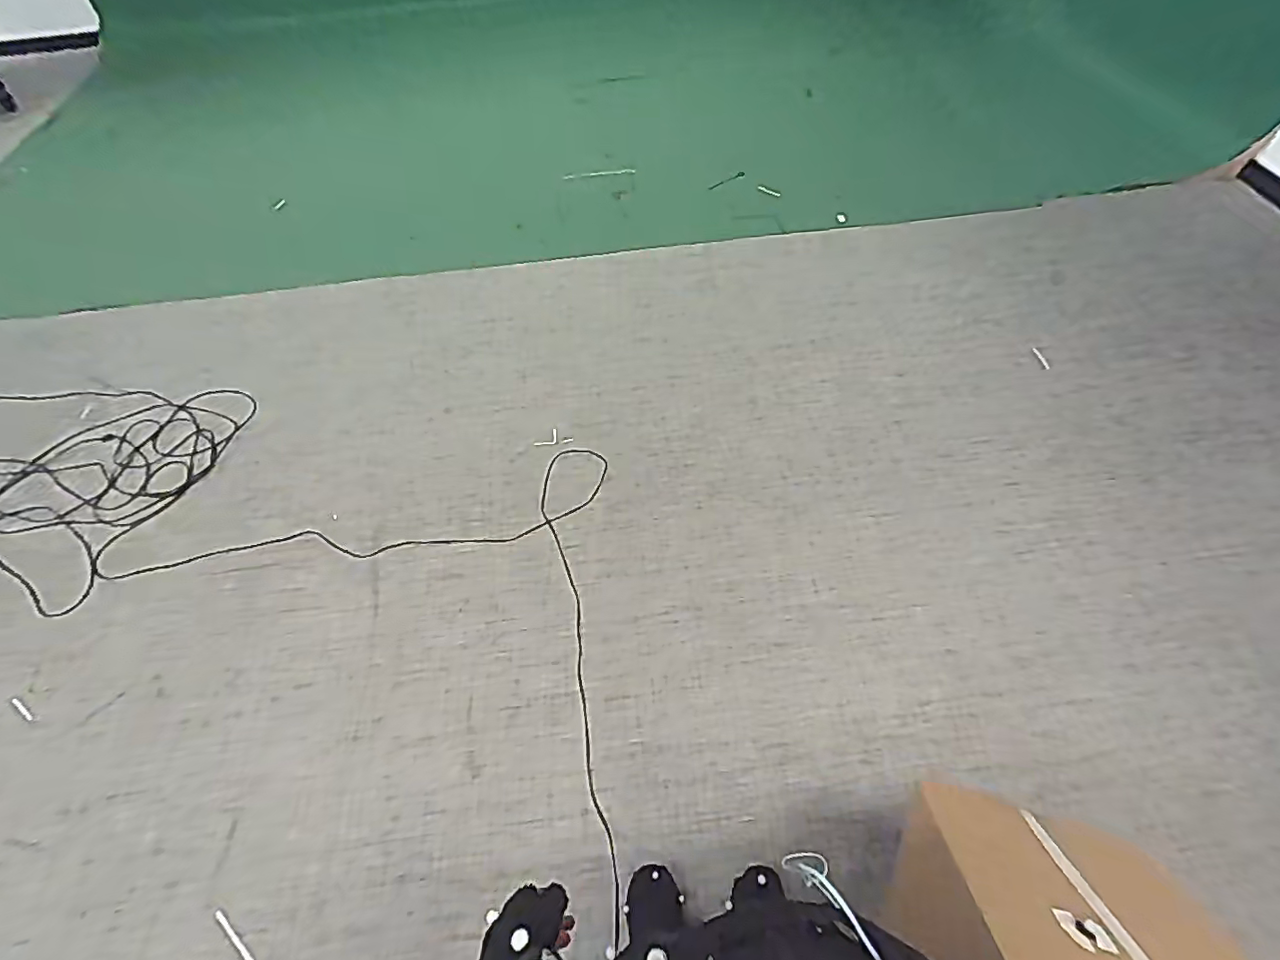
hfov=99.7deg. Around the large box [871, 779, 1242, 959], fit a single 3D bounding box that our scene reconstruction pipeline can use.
[{"bbox_3d":[0.507,0.658,0.649,0.320,0.408,0.320,12,93,12],"label":"large box"}]
